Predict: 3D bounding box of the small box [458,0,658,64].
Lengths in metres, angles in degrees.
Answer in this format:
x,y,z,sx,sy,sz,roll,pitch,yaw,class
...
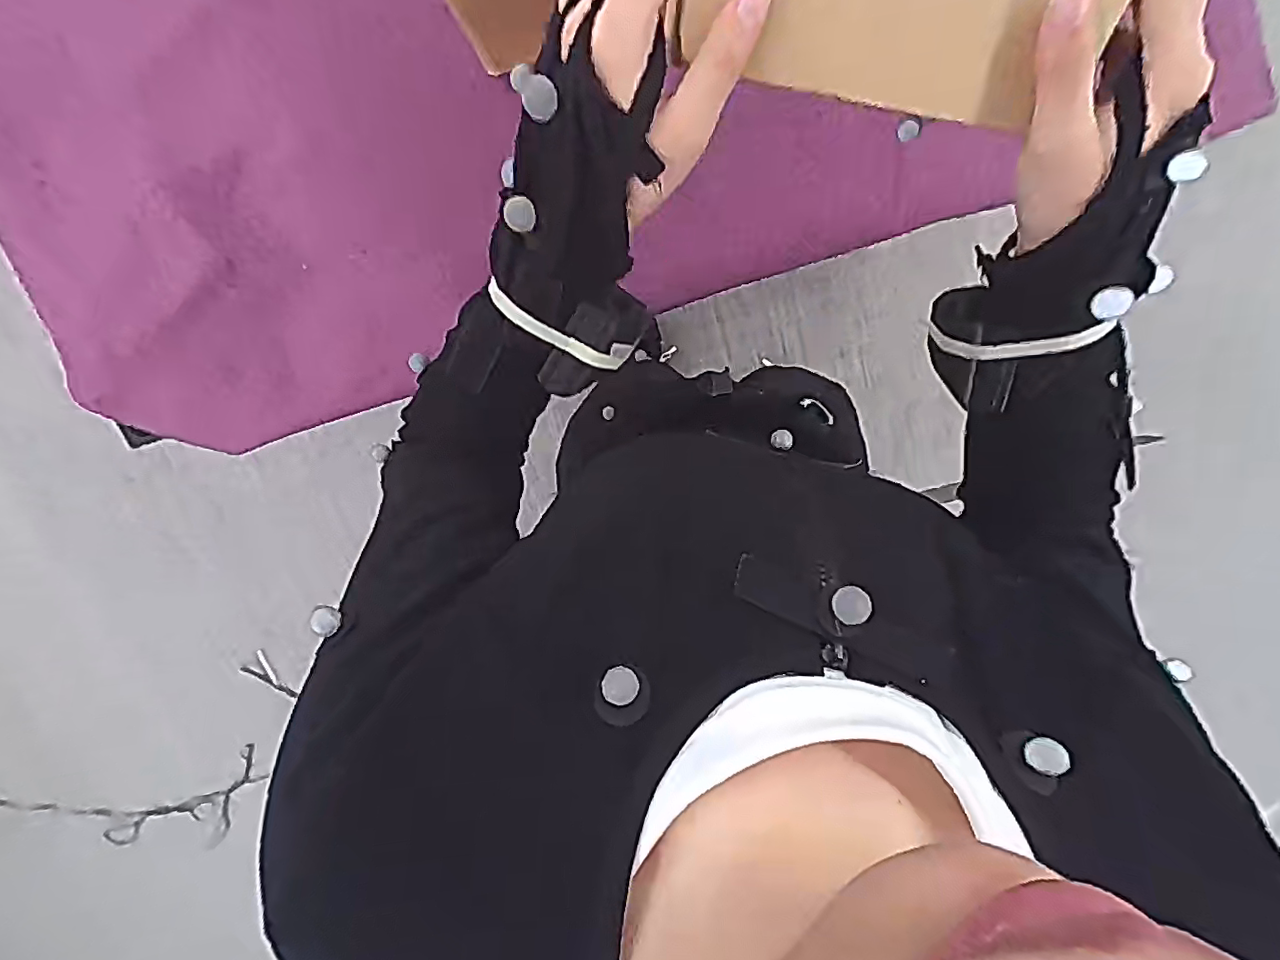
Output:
x,y,z,sx,sy,sz,roll,pitch,yaw,class
-0.081,-0.465,0.414,0.179,0.176,0.168,-16,106,3,small box
